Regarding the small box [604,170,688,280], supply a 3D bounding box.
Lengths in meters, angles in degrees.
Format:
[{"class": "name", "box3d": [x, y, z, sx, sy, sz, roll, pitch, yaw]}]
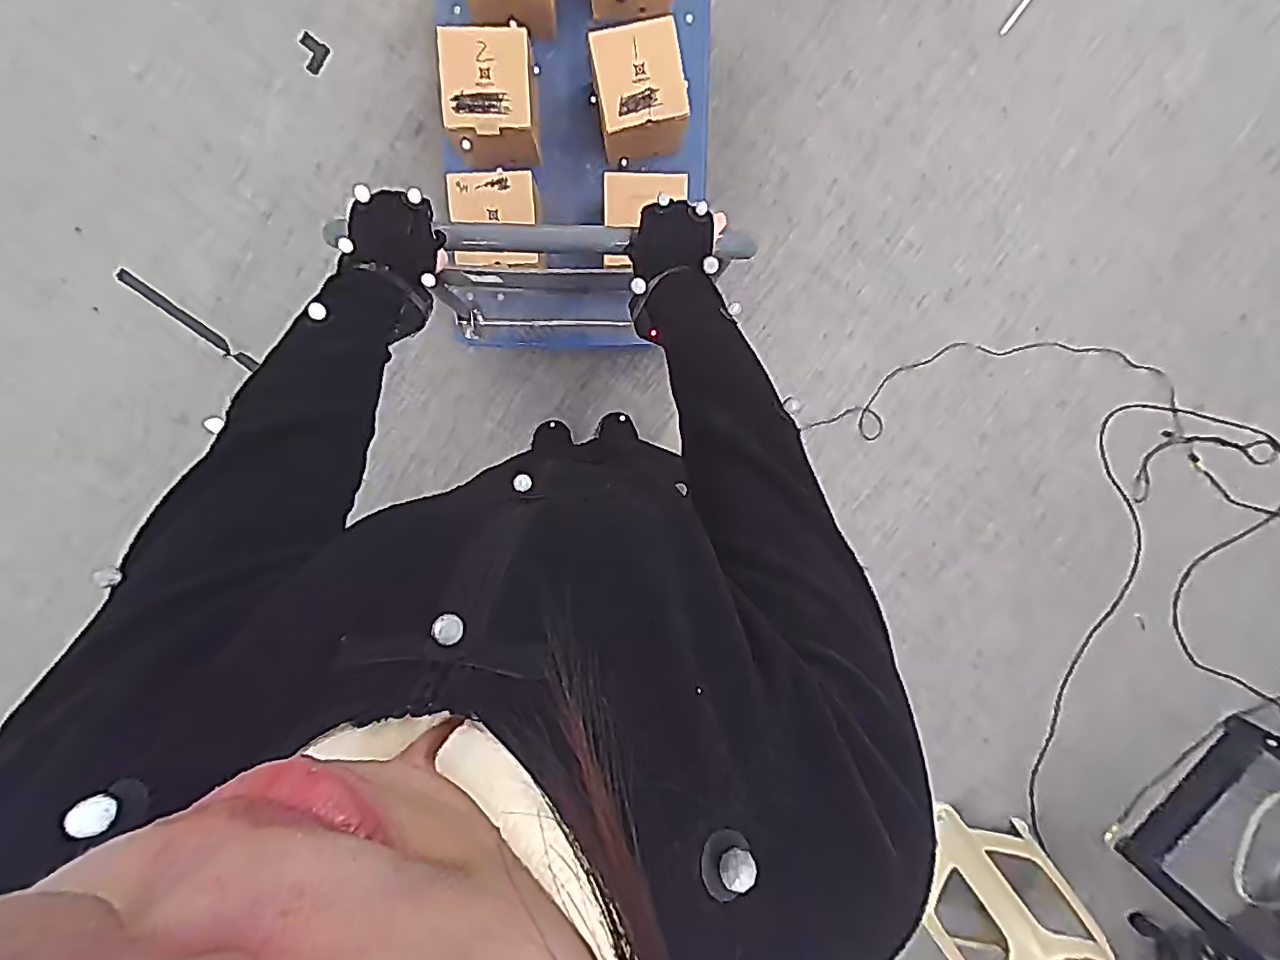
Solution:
[{"class": "small box", "box3d": [0.008, -0.531, 1.148, 0.168, 0.176, 0.179, 0, 99, -3]}]

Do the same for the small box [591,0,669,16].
[{"class": "small box", "box3d": [-0.021, -1.053, 1.056, 0.168, 0.176, 0.179, -3, 100, -2]}]

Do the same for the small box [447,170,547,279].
[{"class": "small box", "box3d": [-0.290, -0.524, 1.133, 0.168, 0.176, 0.179, -4, 100, -3]}]

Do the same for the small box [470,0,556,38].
[{"class": "small box", "box3d": [-0.253, -1.015, 1.050, 0.168, 0.176, 0.179, 1, 101, -3]}]
